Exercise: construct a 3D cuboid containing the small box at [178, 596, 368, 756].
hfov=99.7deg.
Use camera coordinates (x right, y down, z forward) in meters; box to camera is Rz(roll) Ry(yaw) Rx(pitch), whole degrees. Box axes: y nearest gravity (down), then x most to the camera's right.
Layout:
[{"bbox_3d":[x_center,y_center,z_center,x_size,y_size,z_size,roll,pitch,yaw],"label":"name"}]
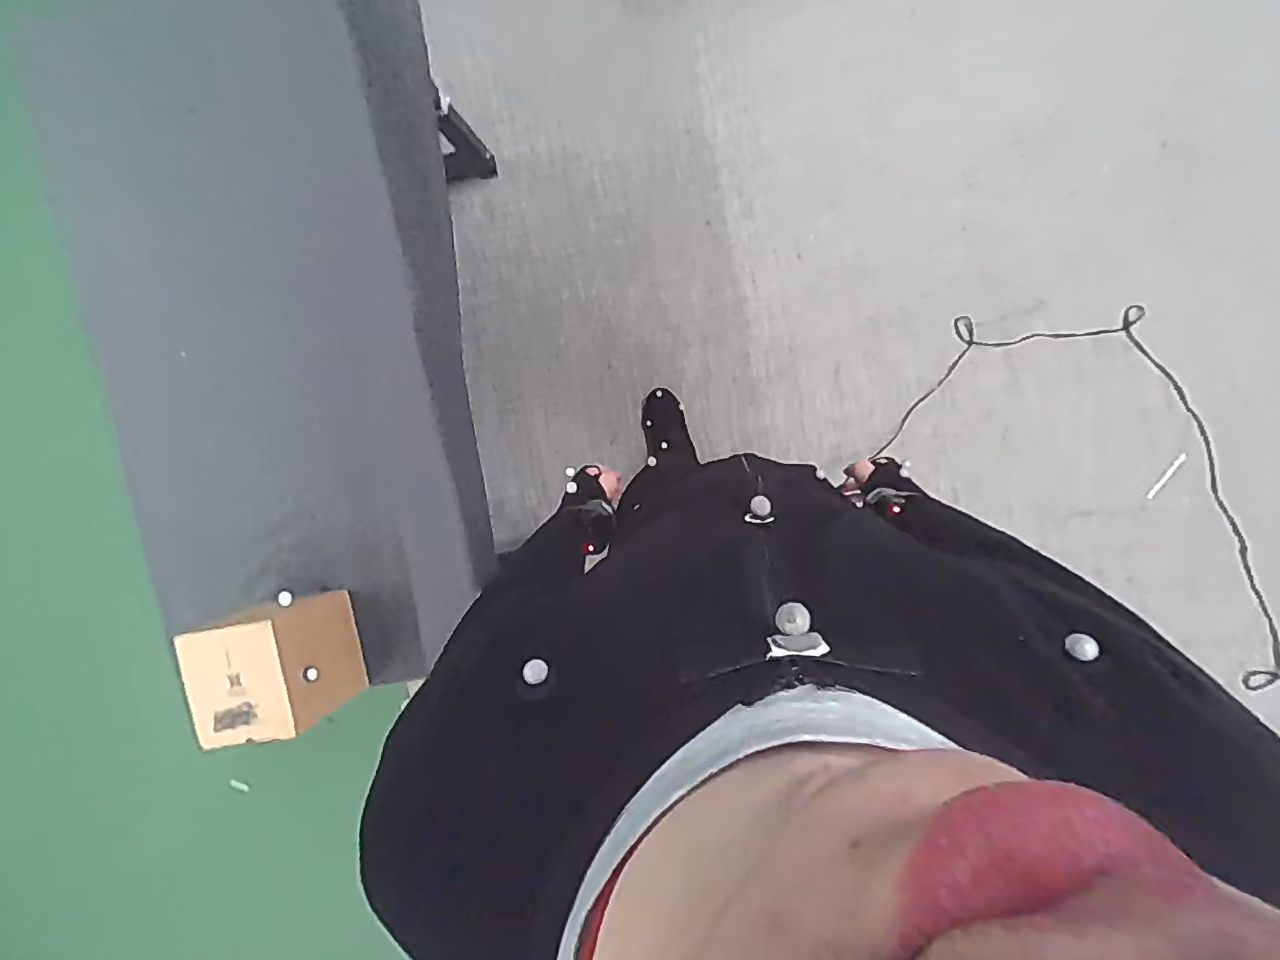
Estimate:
[{"bbox_3d":[-0.565,0.302,0.858,0.168,0.176,0.179,-11,93,8],"label":"small box"}]
